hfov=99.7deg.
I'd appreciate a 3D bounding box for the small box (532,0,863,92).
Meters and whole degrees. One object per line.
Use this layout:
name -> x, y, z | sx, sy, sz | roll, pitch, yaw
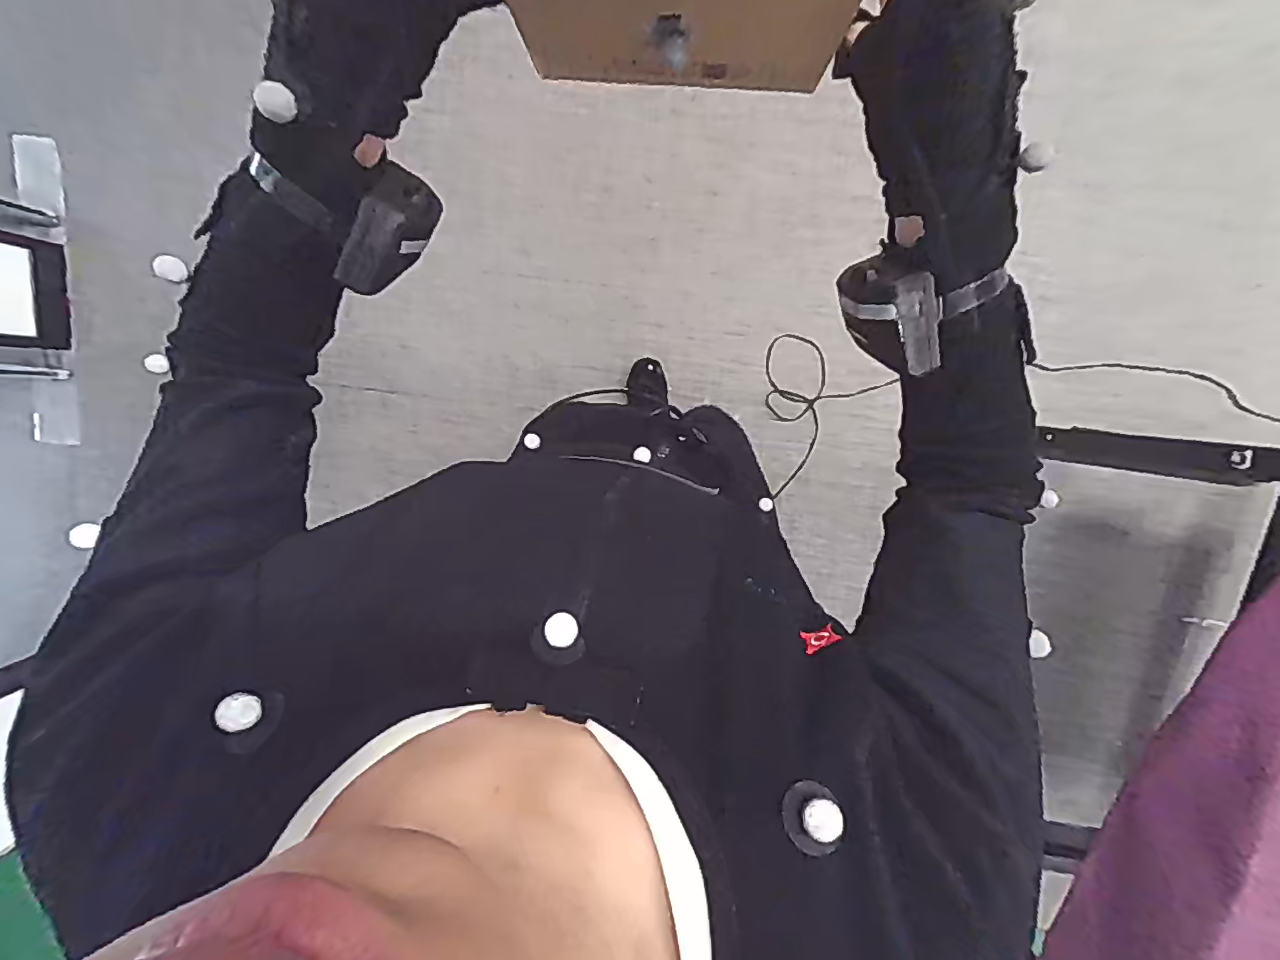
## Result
small box -> 0.027, -0.303, 0.222 | 0.168, 0.176, 0.179 | 5, 102, 3
